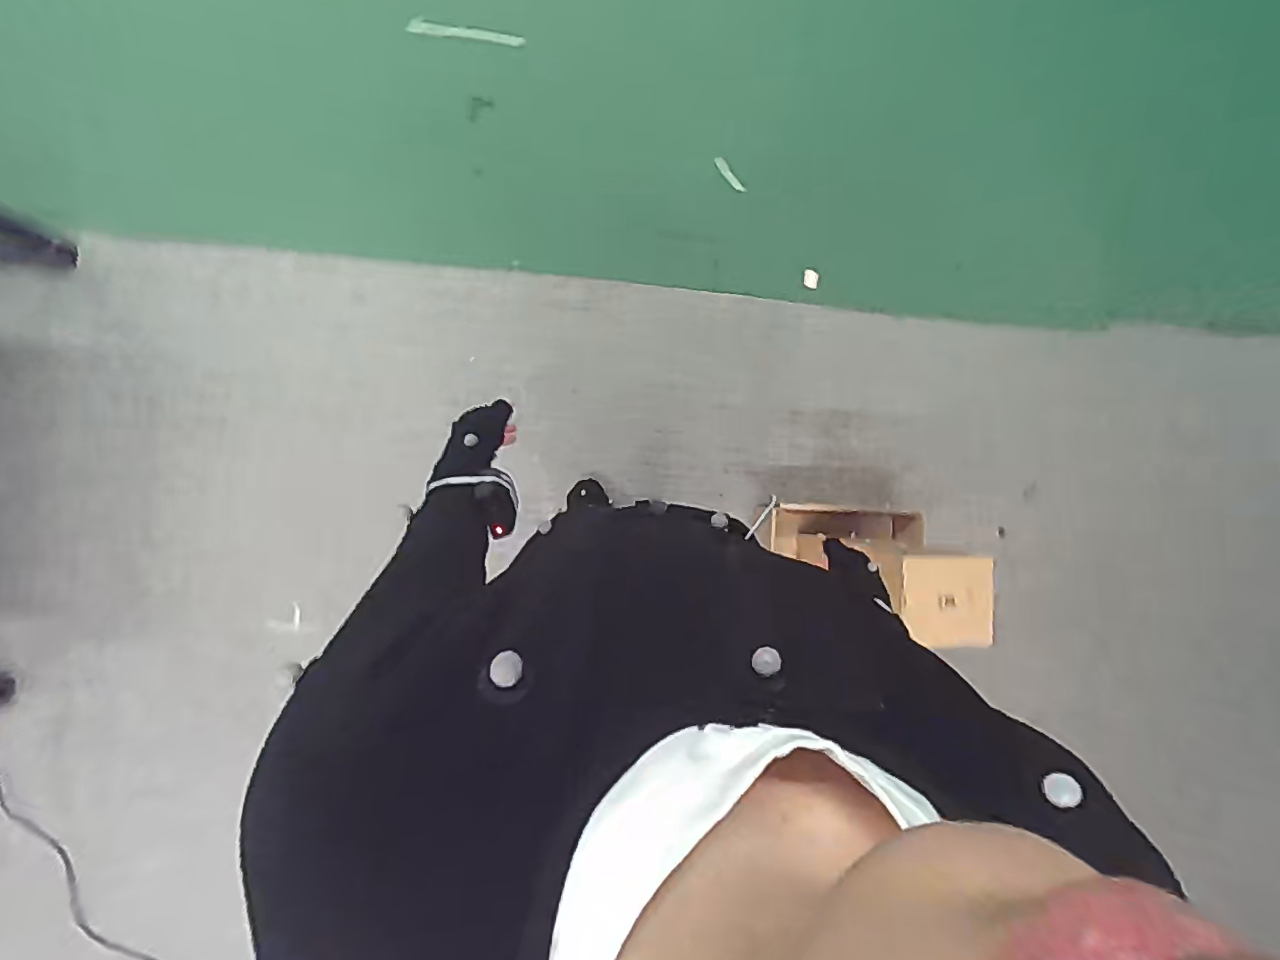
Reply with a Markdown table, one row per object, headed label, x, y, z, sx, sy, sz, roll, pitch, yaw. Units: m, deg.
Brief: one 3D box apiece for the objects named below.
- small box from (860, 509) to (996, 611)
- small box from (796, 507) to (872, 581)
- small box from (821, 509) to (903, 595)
| label | x | y | z | sx | sy | sz | roll | pitch | yaw |
| --- | --- | --- | --- | --- | --- | --- | --- | --- | --- |
| small box | 0.547 | 0.149 | 1.055 | 0.179 | 0.176 | 0.168 | -6 | 90 | -4 |
| small box | 0.516 | 0.158 | 1.379 | 0.179 | 0.176 | 0.168 | -3 | 89 | -4 |
| small box | 0.529 | 0.155 | 1.217 | 0.179 | 0.176 | 0.168 | -5 | 89 | -4 |
